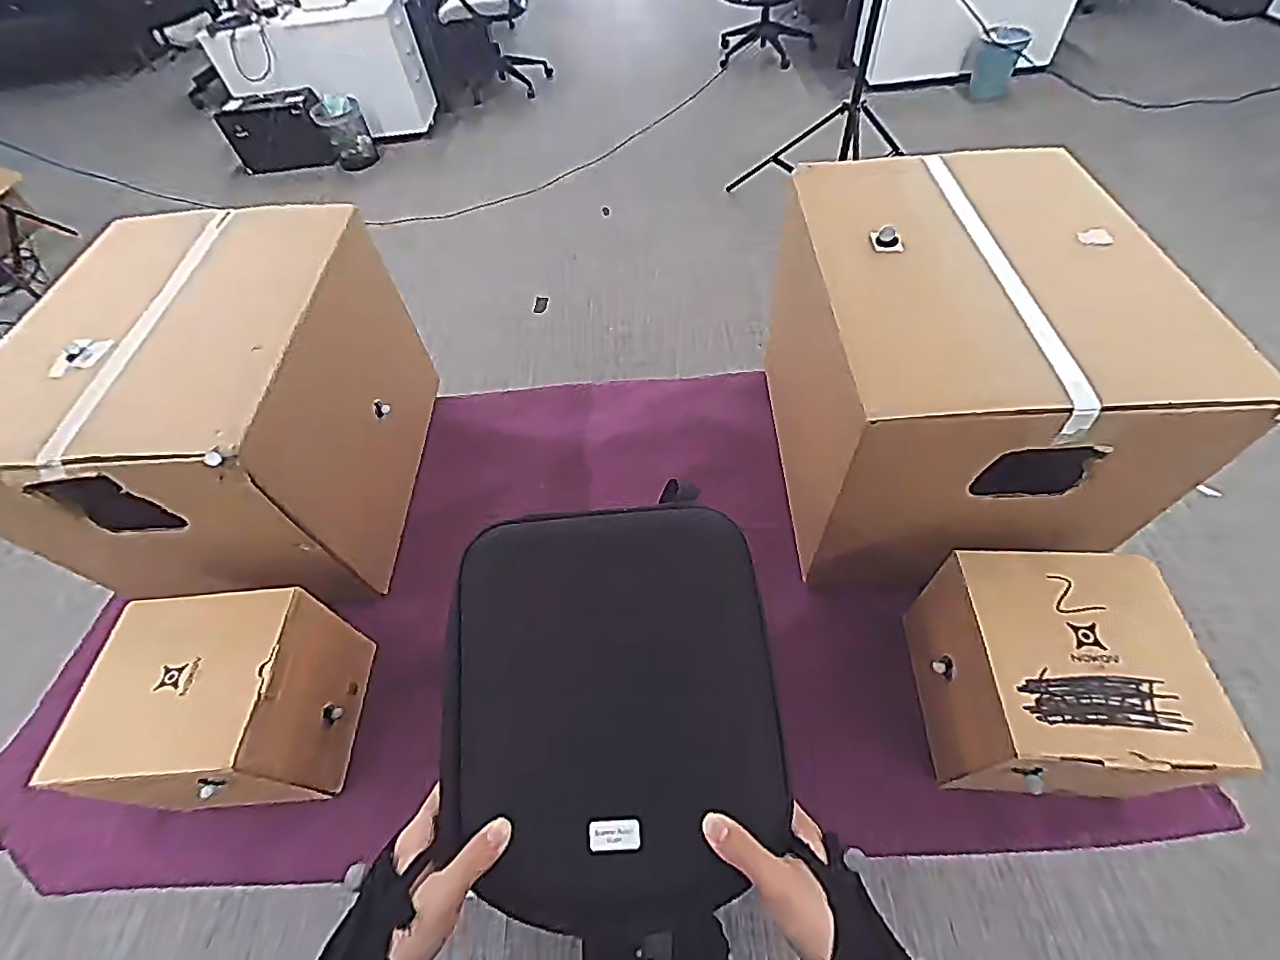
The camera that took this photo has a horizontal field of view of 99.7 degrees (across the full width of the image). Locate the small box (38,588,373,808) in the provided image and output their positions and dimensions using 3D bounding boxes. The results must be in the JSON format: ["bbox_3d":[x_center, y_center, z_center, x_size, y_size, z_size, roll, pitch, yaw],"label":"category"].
[{"bbox_3d":[-0.415,0.230,0.559,0.179,0.176,0.168,-5,52,0],"label":"small box"}]

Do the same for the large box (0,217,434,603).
[{"bbox_3d":[-0.493,-0.079,0.701,0.320,0.320,0.408,-4,56,1],"label":"large box"}]
